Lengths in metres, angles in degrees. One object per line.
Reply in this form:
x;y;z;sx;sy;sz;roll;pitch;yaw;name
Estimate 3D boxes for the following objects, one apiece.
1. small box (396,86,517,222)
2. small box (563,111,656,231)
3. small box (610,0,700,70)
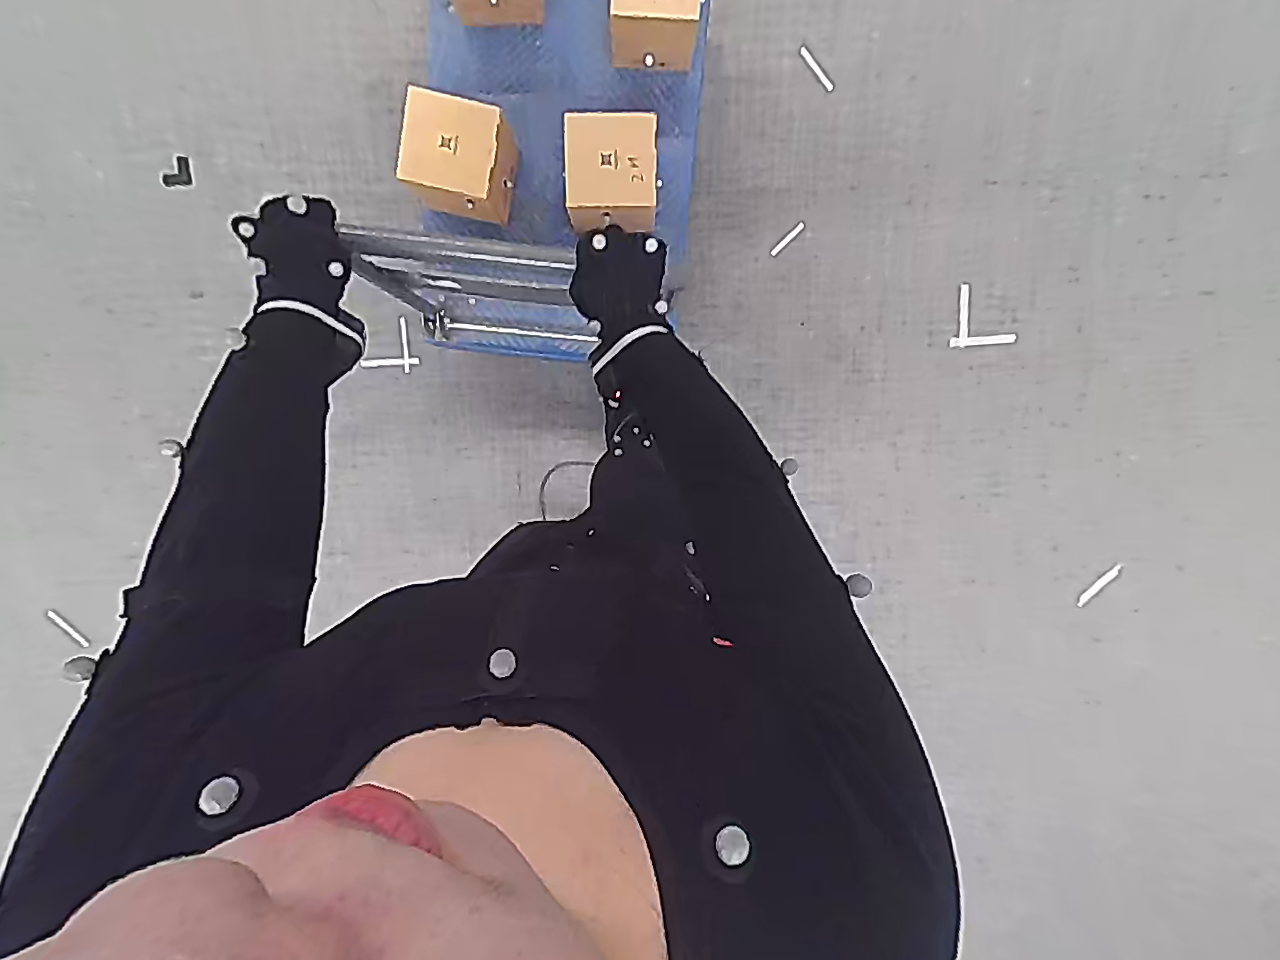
-0.360;-0.641;1.086;0.179;0.176;0.168;11;99;-4;small box
-0.057;-0.614;1.094;0.179;0.176;0.168;0;99;-1;small box
0.029;-0.939;1.042;0.168;0.176;0.179;2;100;-1;small box
